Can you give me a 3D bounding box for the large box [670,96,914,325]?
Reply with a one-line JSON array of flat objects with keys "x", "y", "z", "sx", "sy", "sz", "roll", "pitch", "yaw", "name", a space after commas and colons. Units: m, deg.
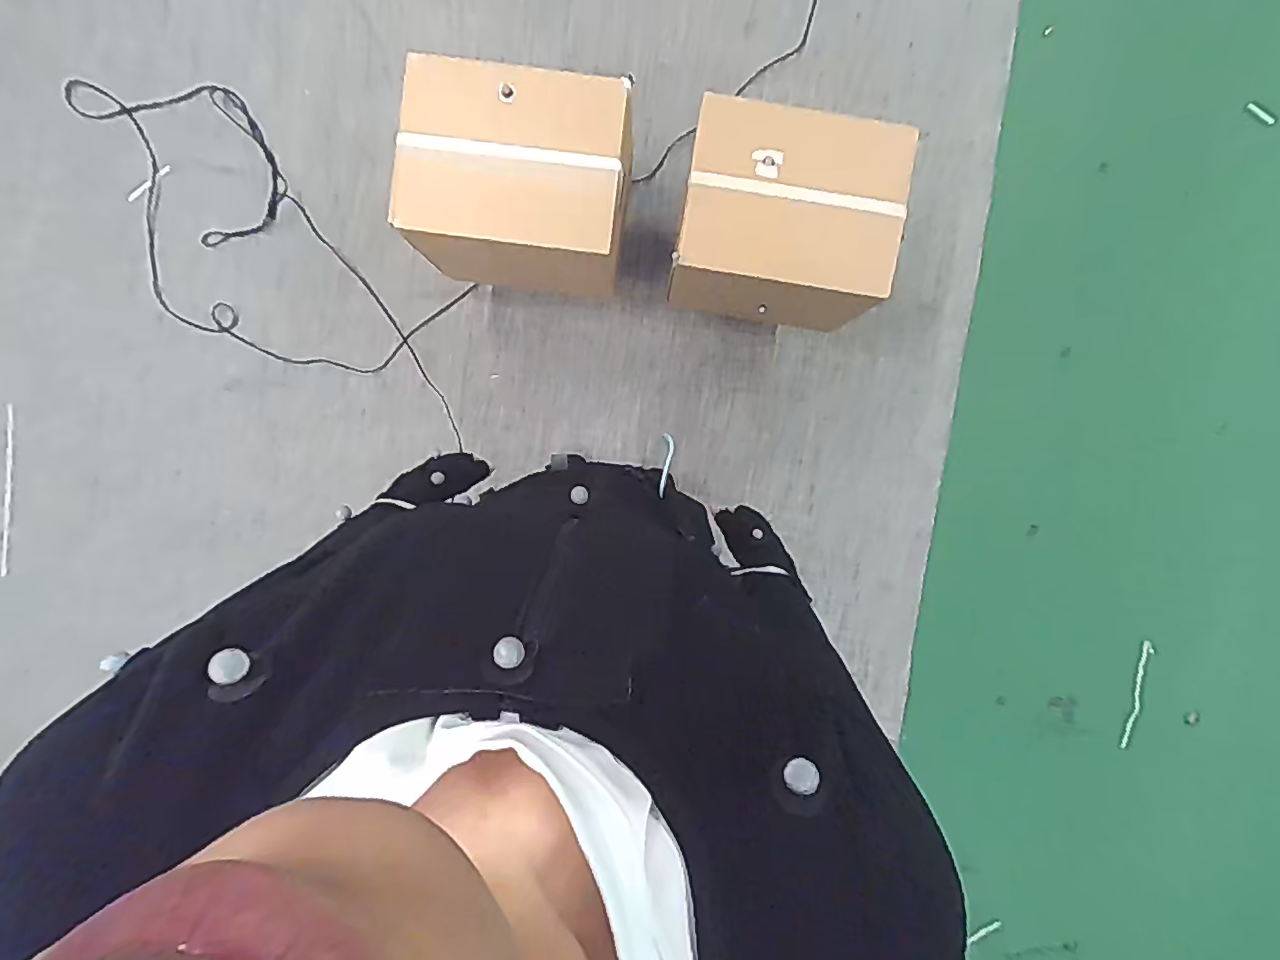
[{"x": 0.291, "y": -0.539, "z": 1.154, "sx": 0.408, "sy": 0.320, "sz": 0.320, "roll": 9, "pitch": 94, "yaw": -1, "name": "large box"}]
